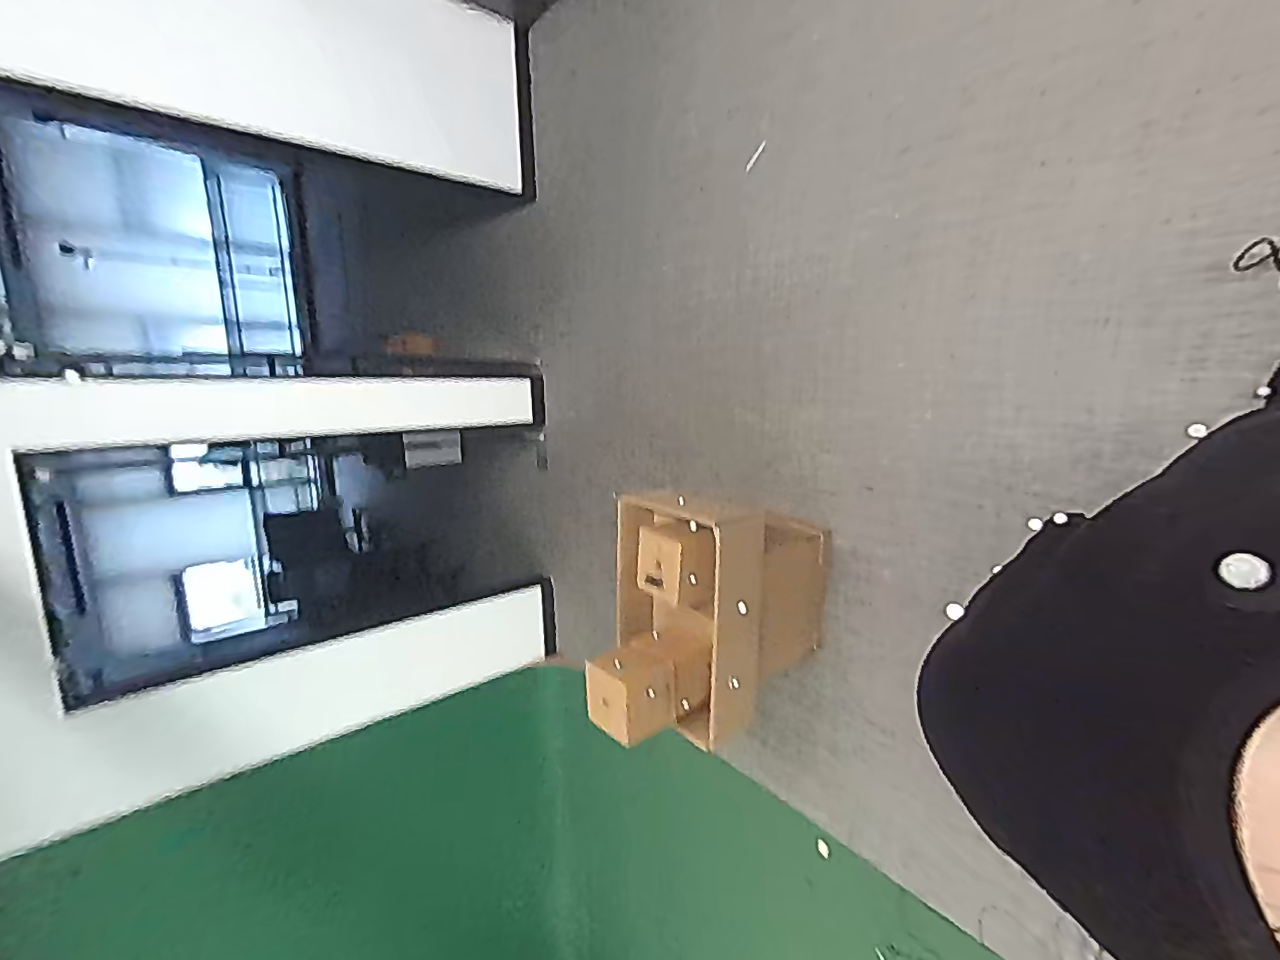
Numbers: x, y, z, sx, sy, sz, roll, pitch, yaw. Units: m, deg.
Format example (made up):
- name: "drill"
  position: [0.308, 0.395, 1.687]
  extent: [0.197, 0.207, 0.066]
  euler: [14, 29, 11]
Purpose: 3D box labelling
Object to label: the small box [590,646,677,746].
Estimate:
- name: "small box"
  position: [-0.014, 0.563, 1.442]
  extent: [0.179, 0.176, 0.168]
  euler: [8, 102, 51]
